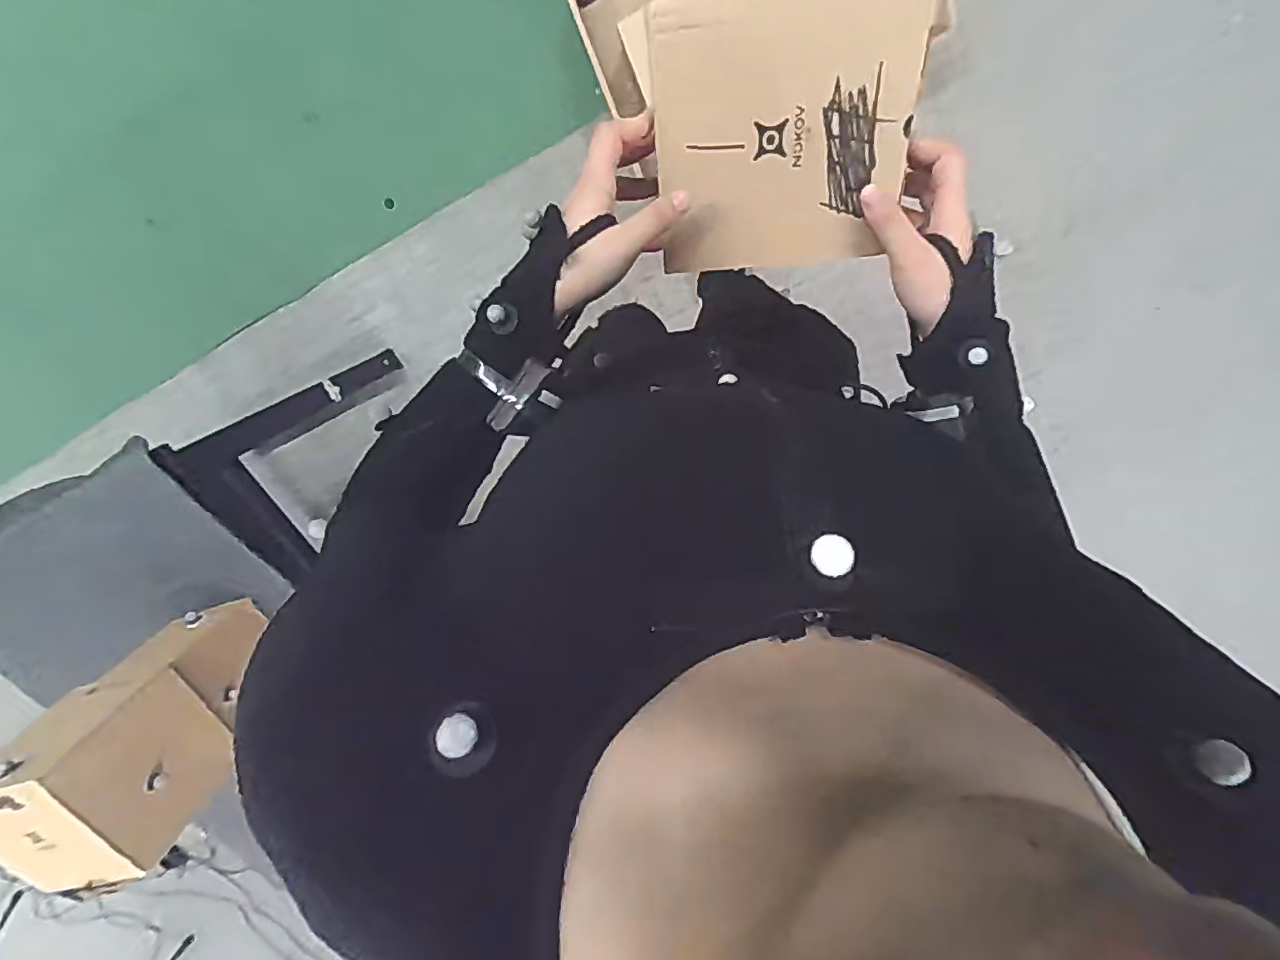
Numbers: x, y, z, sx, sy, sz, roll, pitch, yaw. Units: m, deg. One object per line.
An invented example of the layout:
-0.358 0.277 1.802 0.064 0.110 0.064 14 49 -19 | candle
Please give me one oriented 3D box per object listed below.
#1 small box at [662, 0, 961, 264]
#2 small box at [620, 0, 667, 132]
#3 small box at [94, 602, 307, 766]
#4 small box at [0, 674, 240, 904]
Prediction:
0.109 -0.283 0.418 0.179 0.176 0.168 -3 127 6 | small box
0.078 -0.789 1.020 0.179 0.176 0.168 -22 114 11 | small box
-0.659 0.318 0.819 0.168 0.176 0.179 -20 112 11 | small box
-0.655 0.373 0.663 0.168 0.176 0.179 -17 114 10 | small box
